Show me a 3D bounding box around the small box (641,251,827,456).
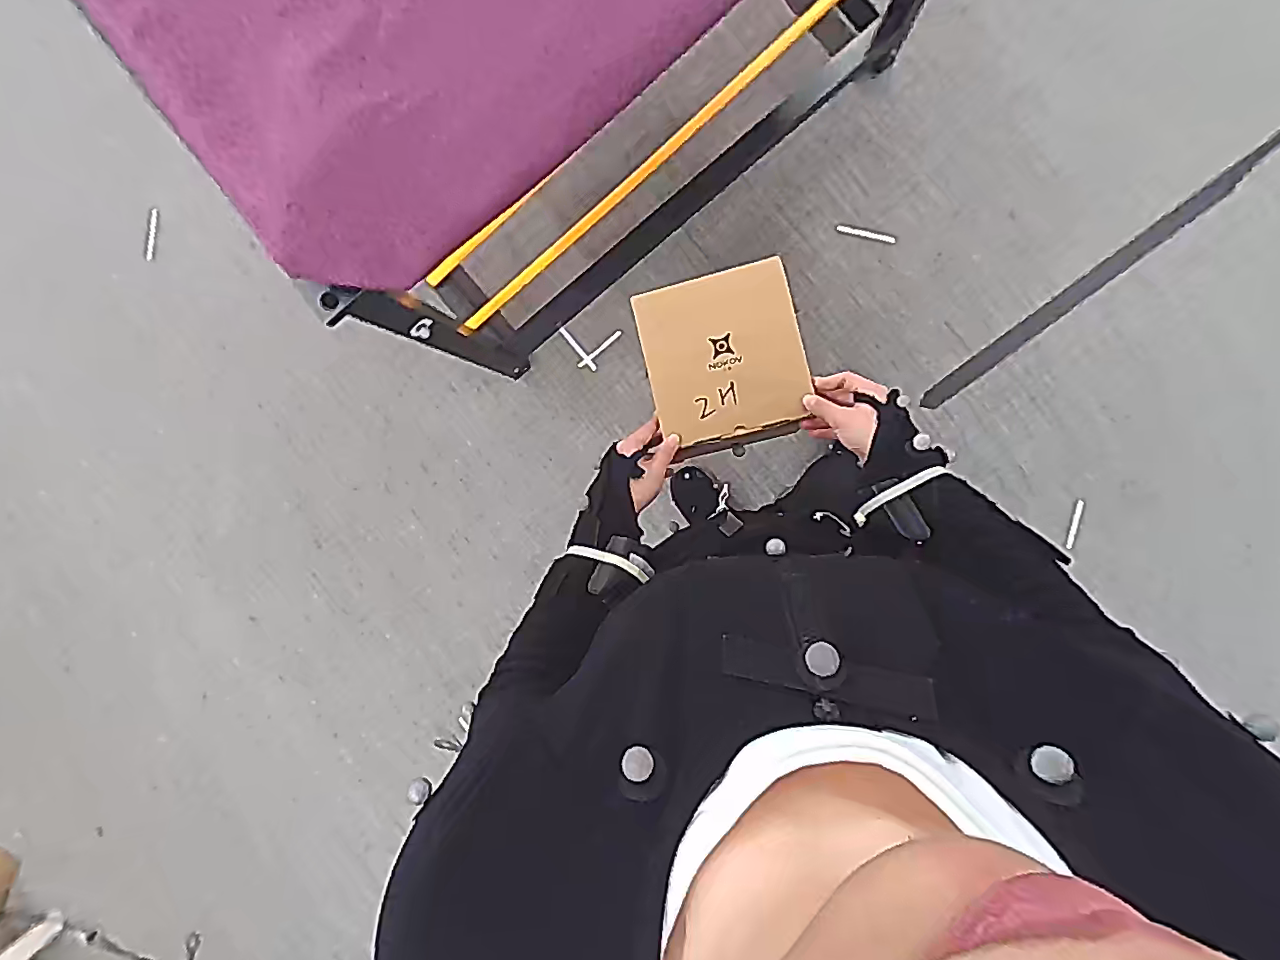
[{"bbox_3d":[0.104,-0.133,0.639,0.168,0.176,0.179,-13,87,7],"label":"small box"}]
